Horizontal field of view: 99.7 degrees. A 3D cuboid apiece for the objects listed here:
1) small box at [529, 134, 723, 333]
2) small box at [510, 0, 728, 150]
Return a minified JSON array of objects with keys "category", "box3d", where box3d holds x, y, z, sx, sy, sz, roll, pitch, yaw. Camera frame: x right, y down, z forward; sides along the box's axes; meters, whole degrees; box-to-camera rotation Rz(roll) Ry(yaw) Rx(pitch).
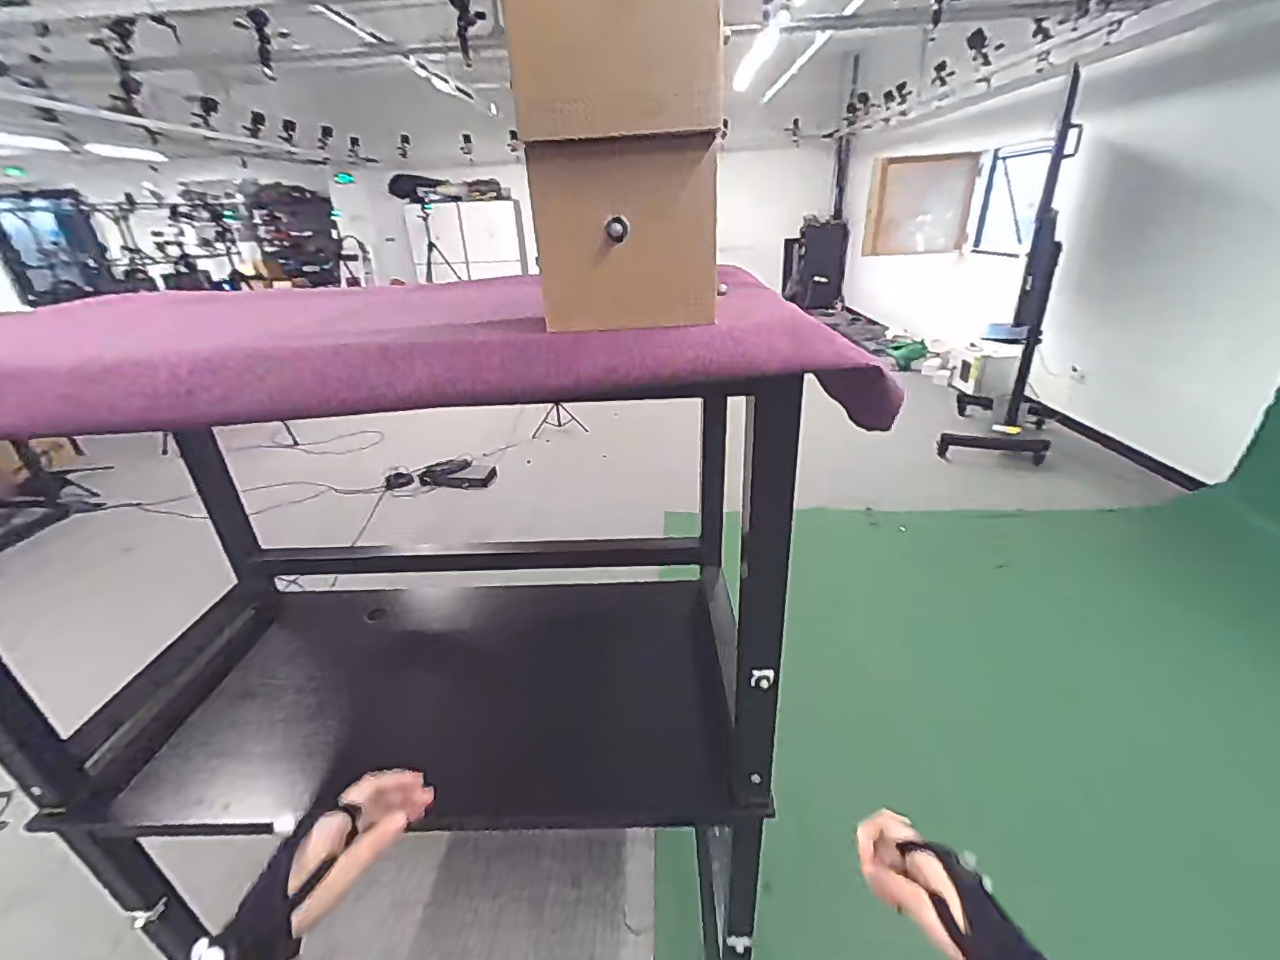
[{"category":"small box","box3d":[-0.006,-0.262,0.586,0.179,0.176,0.168,-3,25,4]},{"category":"small box","box3d":[-0.013,-0.401,0.496,0.179,0.176,0.168,-3,25,3]}]
